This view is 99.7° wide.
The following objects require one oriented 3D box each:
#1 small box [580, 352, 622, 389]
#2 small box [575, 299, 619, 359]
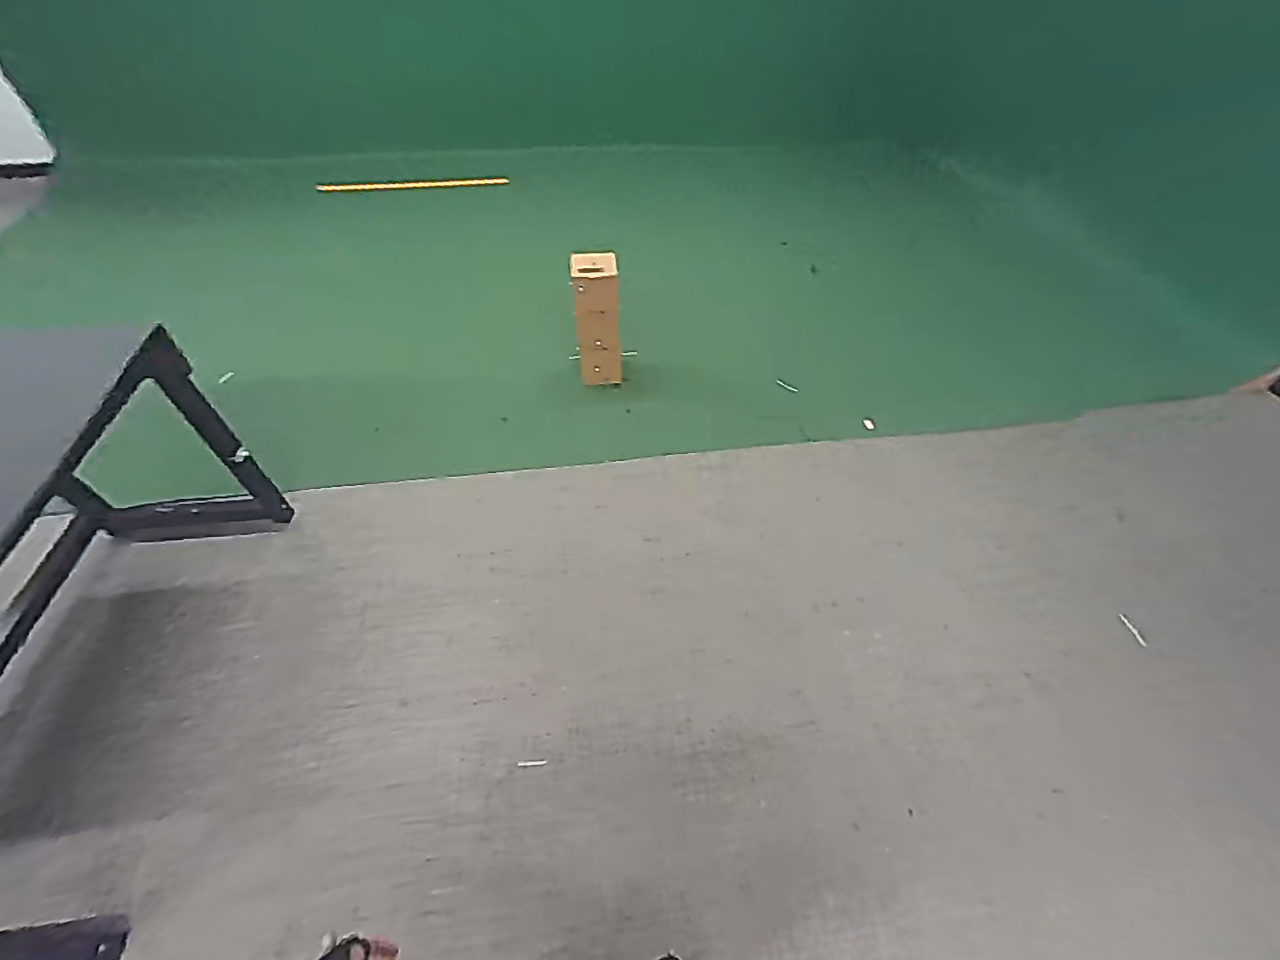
[{"bbox_3d":[-0.167,-0.501,2.313,0.168,0.176,0.179,-6,48,-4],"label":"small box"},{"bbox_3d":[-0.172,-0.611,2.189,0.168,0.176,0.179,-5,49,-2],"label":"small box"}]
